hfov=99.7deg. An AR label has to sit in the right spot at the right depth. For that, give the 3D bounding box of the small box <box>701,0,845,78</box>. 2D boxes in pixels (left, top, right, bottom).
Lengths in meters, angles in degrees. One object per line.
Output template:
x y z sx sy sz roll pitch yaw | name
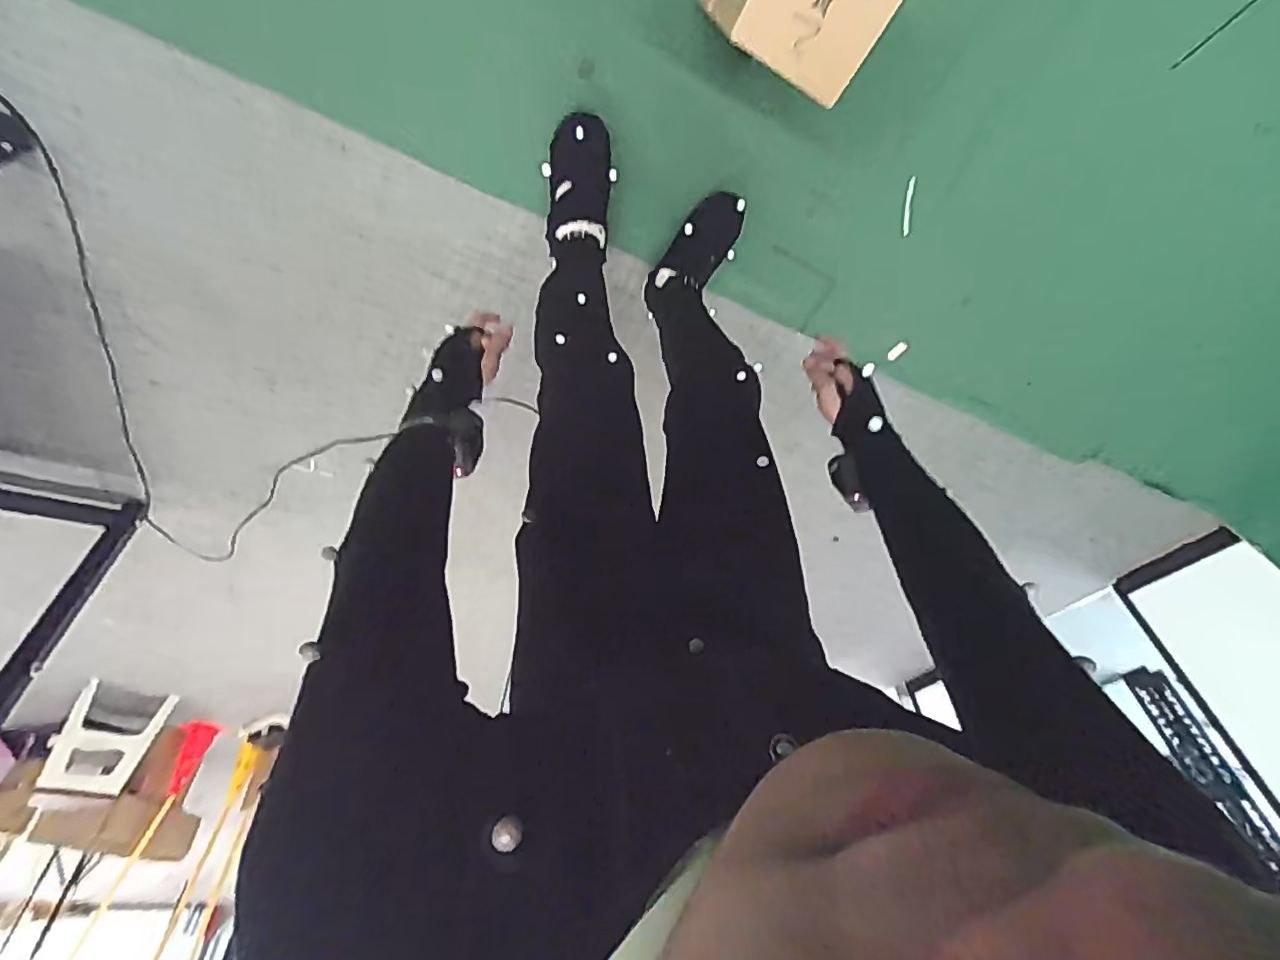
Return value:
0.202 -0.743 0.787 0.168 0.176 0.179 18 134 -23 | small box
